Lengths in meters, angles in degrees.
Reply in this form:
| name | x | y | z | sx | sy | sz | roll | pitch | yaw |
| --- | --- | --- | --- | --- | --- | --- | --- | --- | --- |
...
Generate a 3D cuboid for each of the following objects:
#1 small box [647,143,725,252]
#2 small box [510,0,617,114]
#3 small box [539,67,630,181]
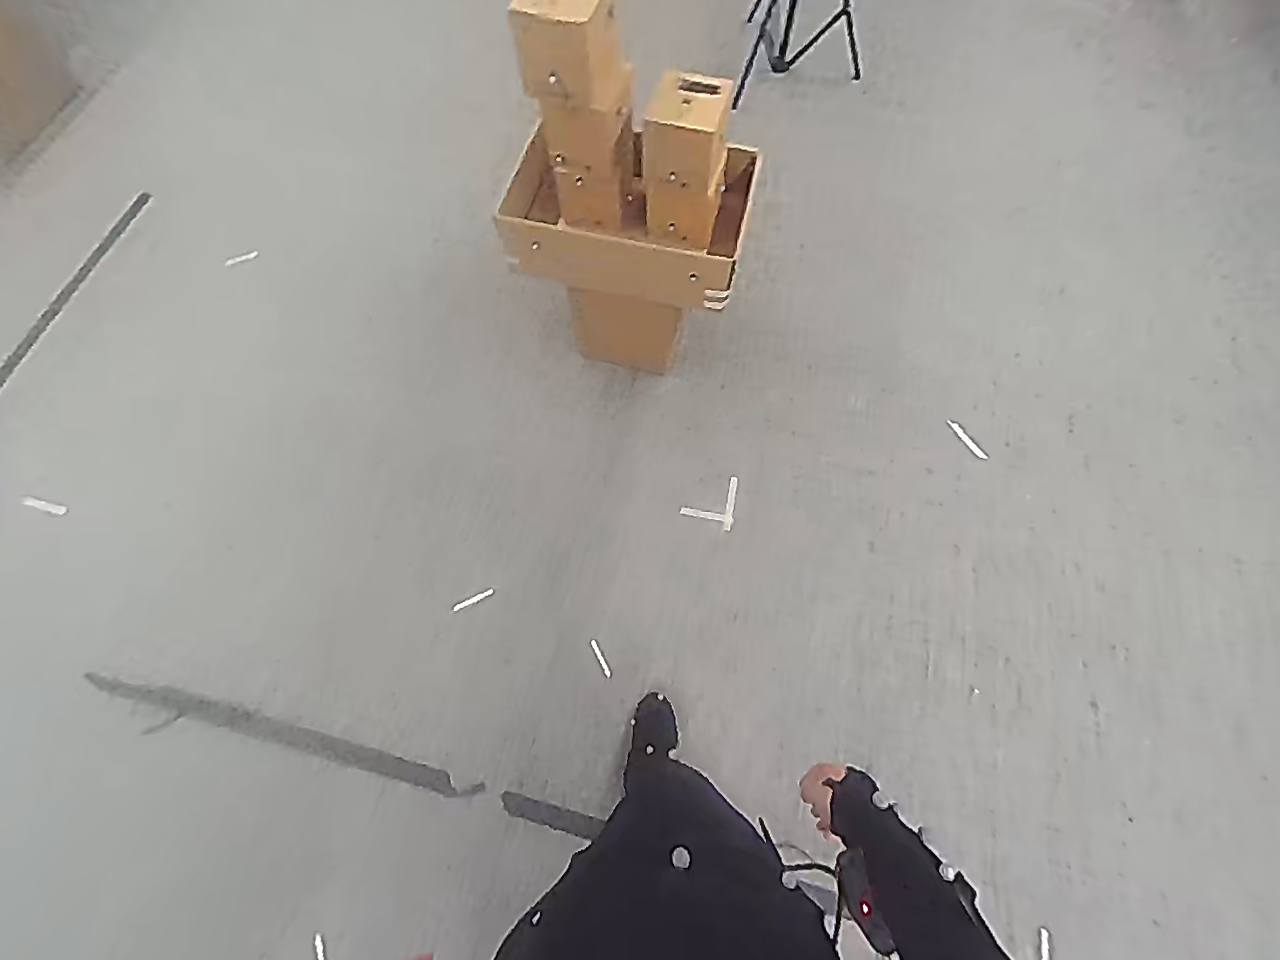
| name | x | y | z | sx | sy | sz | roll | pitch | yaw |
| --- | --- | --- | --- | --- | --- | --- | --- | --- | --- |
| small box | 0.117 | -0.740 | 1.425 | 0.168 | 0.176 | 0.179 | 14 | 70 | 7 |
| small box | -0.152 | -0.926 | 1.145 | 0.168 | 0.176 | 0.179 | 18 | 70 | 7 |
| small box | -0.123 | -0.858 | 1.295 | 0.168 | 0.176 | 0.179 | 17 | 69 | 6 |
